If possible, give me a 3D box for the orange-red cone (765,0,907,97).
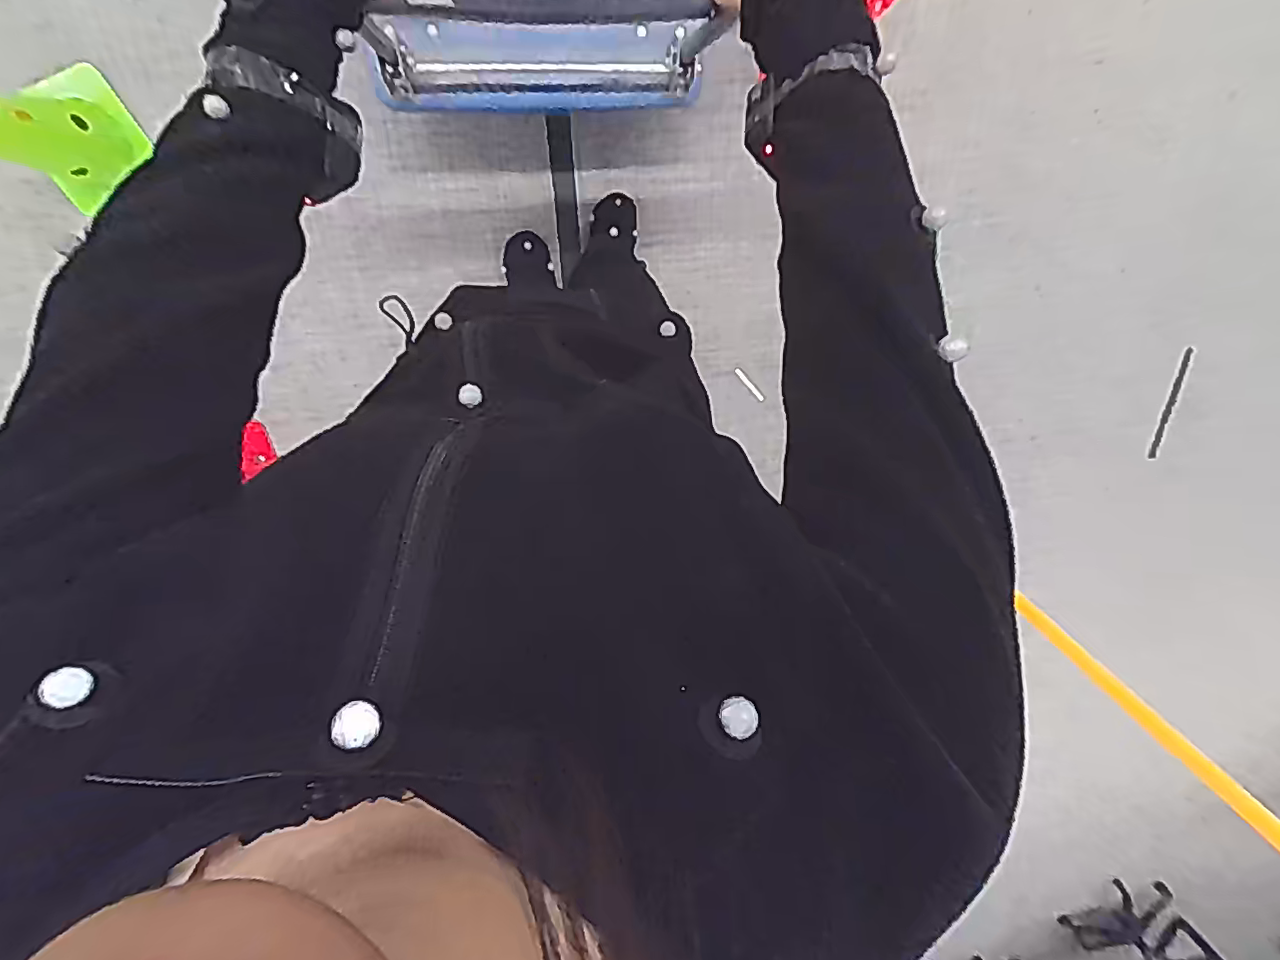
[{"bbox_3d":[0.395,-0.849,0.974,0.199,0.360,0.198,-1,116,-11],"label":"orange-red cone"}]

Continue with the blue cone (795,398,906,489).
[{"bbox_3d":[0.565,-0.064,1.404,0.193,0.380,0.192,-11,116,-5],"label":"blue cone"}]
